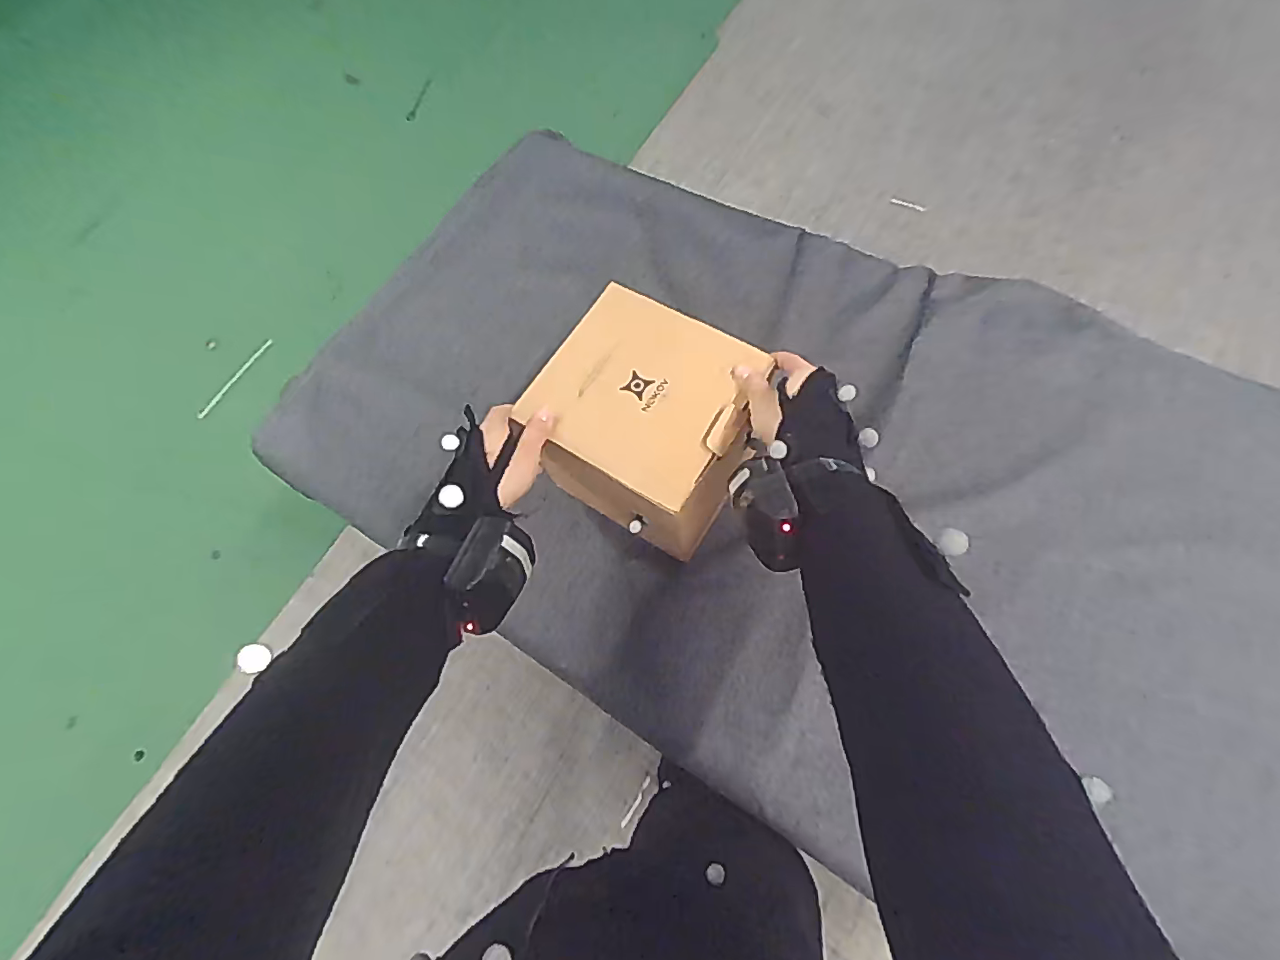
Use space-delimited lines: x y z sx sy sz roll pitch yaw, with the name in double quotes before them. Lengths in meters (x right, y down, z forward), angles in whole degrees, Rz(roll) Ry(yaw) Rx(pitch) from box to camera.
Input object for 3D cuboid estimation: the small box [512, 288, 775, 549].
"small box" 0.011 -0.048 0.539 0.179 0.176 0.168 29 73 17
